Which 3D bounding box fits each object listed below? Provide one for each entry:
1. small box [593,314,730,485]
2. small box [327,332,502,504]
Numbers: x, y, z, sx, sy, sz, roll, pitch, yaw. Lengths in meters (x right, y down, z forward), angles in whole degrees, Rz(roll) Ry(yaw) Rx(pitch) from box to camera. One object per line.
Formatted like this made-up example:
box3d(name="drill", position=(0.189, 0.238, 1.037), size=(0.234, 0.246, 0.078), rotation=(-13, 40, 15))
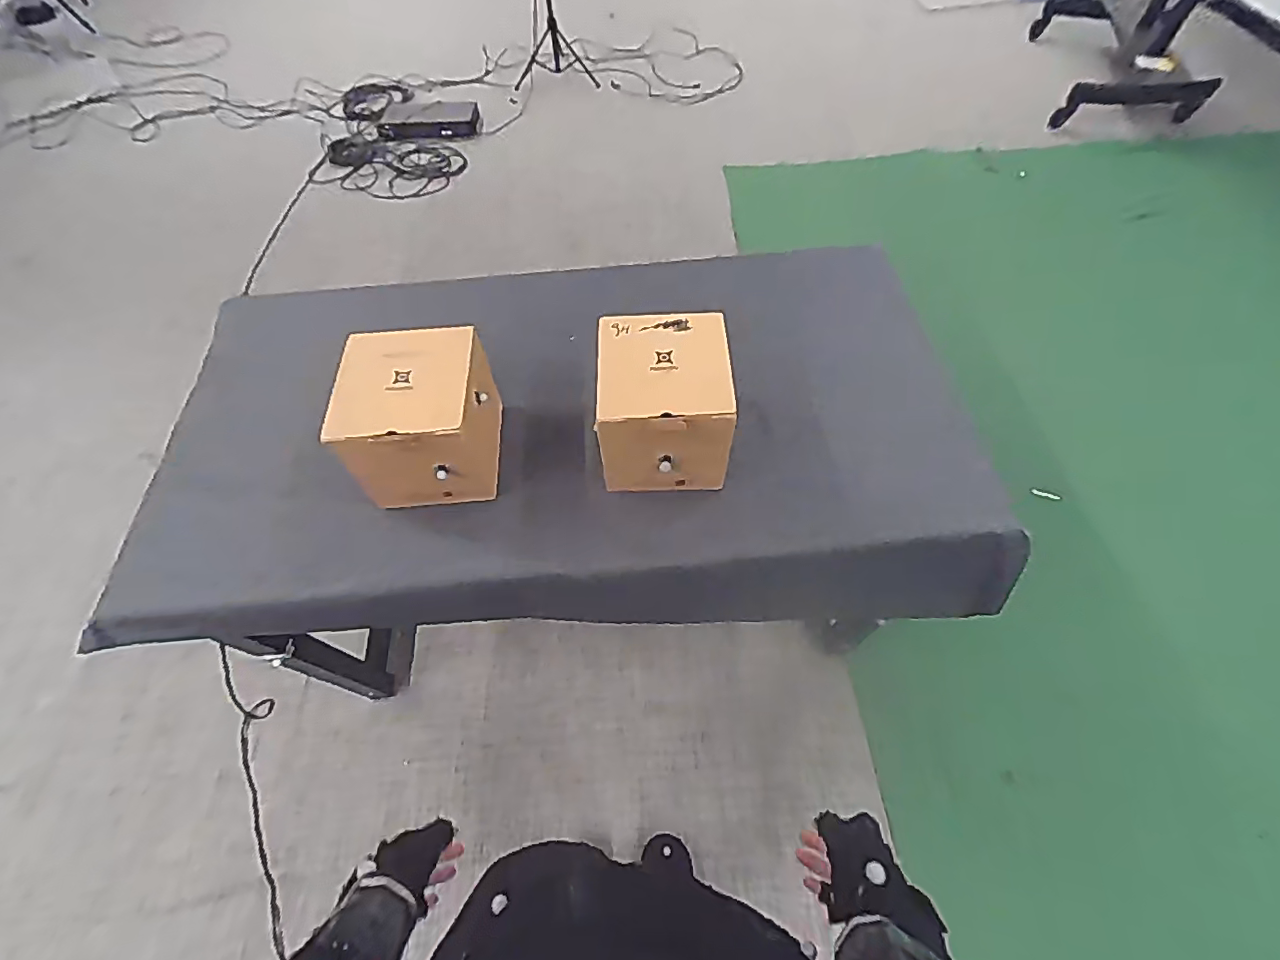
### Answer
box3d(name="small box", position=(0.029, -0.102, 0.745), size=(0.168, 0.176, 0.179), rotation=(-2, 60, 1))
box3d(name="small box", position=(-0.294, -0.078, 0.750), size=(0.168, 0.176, 0.179), rotation=(-5, 58, -2))
